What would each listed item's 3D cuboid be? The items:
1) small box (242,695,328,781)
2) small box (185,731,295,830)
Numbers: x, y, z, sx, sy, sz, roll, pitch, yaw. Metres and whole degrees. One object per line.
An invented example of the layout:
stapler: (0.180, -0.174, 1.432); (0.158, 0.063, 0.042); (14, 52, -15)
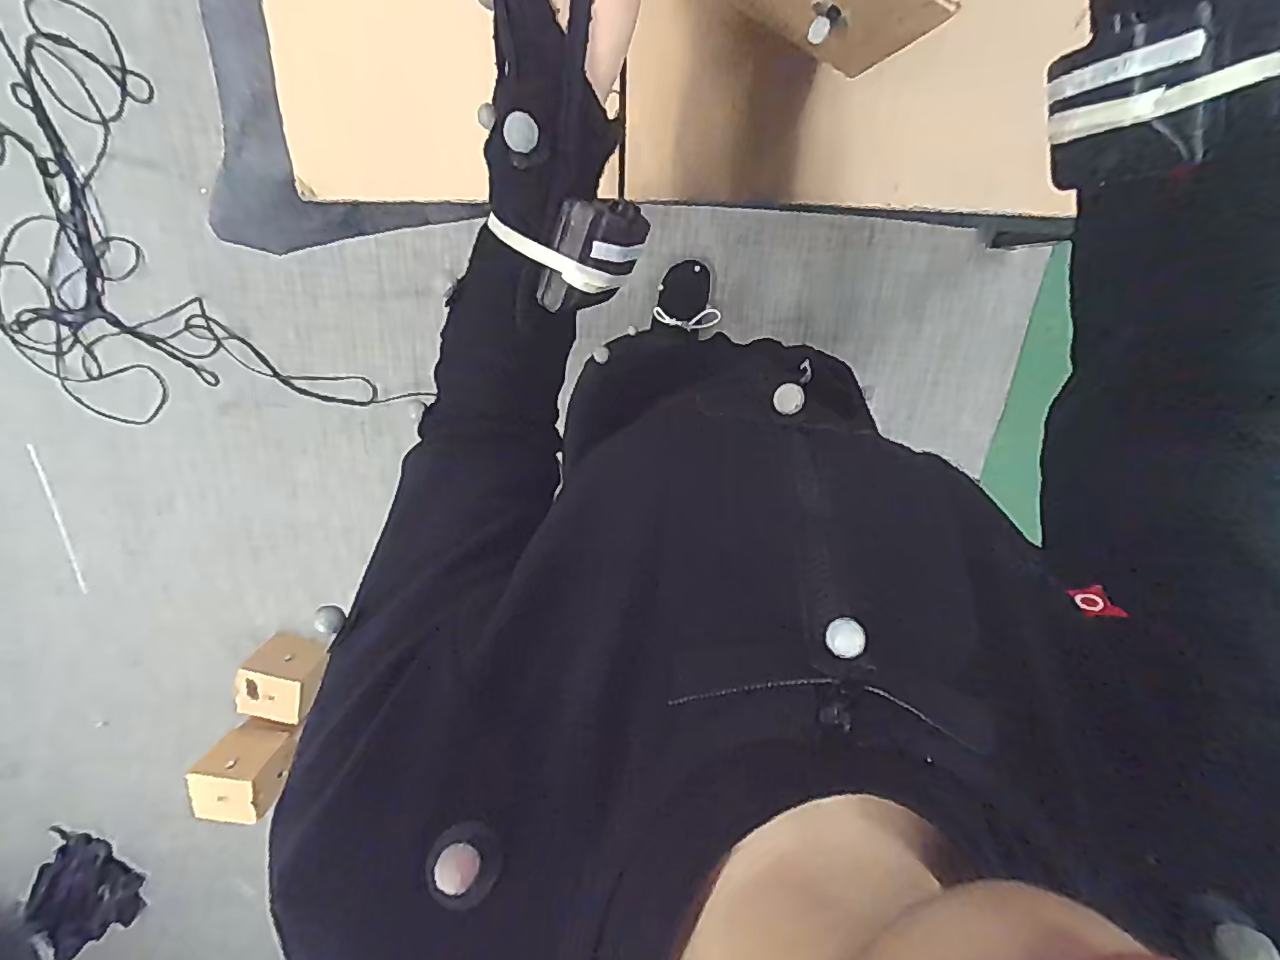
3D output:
small box: (-1.091, 0.792, 1.671); (0.179, 0.176, 0.168); (7, 111, -1)
small box: (-1.111, 0.835, 1.514); (0.179, 0.176, 0.168); (7, 110, 0)
